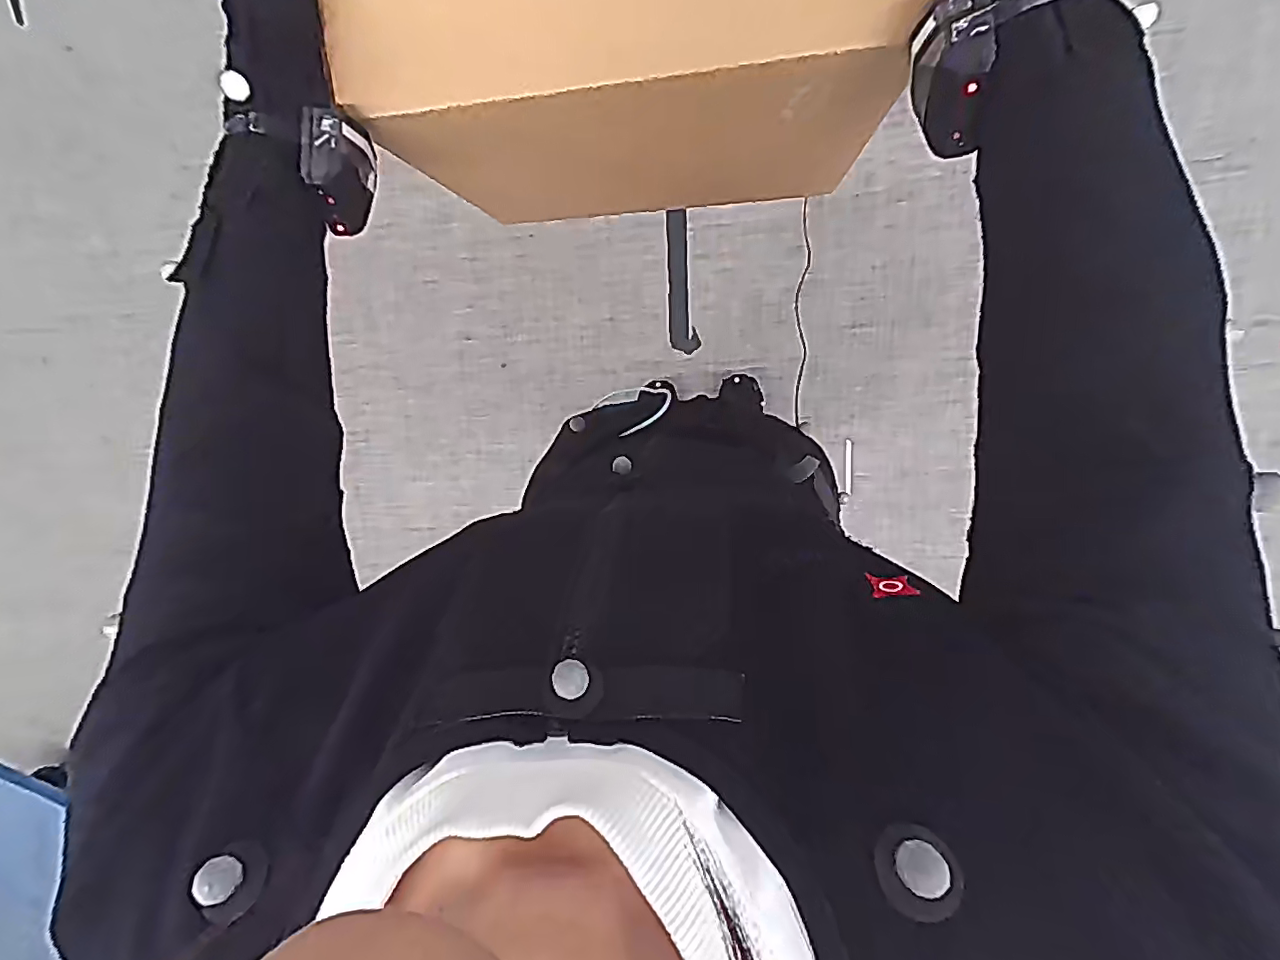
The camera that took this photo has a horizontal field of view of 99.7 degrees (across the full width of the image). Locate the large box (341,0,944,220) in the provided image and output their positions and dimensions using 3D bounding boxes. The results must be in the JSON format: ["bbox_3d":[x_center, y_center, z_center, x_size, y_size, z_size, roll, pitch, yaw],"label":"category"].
[{"bbox_3d":[-0.001,-0.452,0.478,0.408,0.320,0.320,-2,103,8],"label":"large box"}]
